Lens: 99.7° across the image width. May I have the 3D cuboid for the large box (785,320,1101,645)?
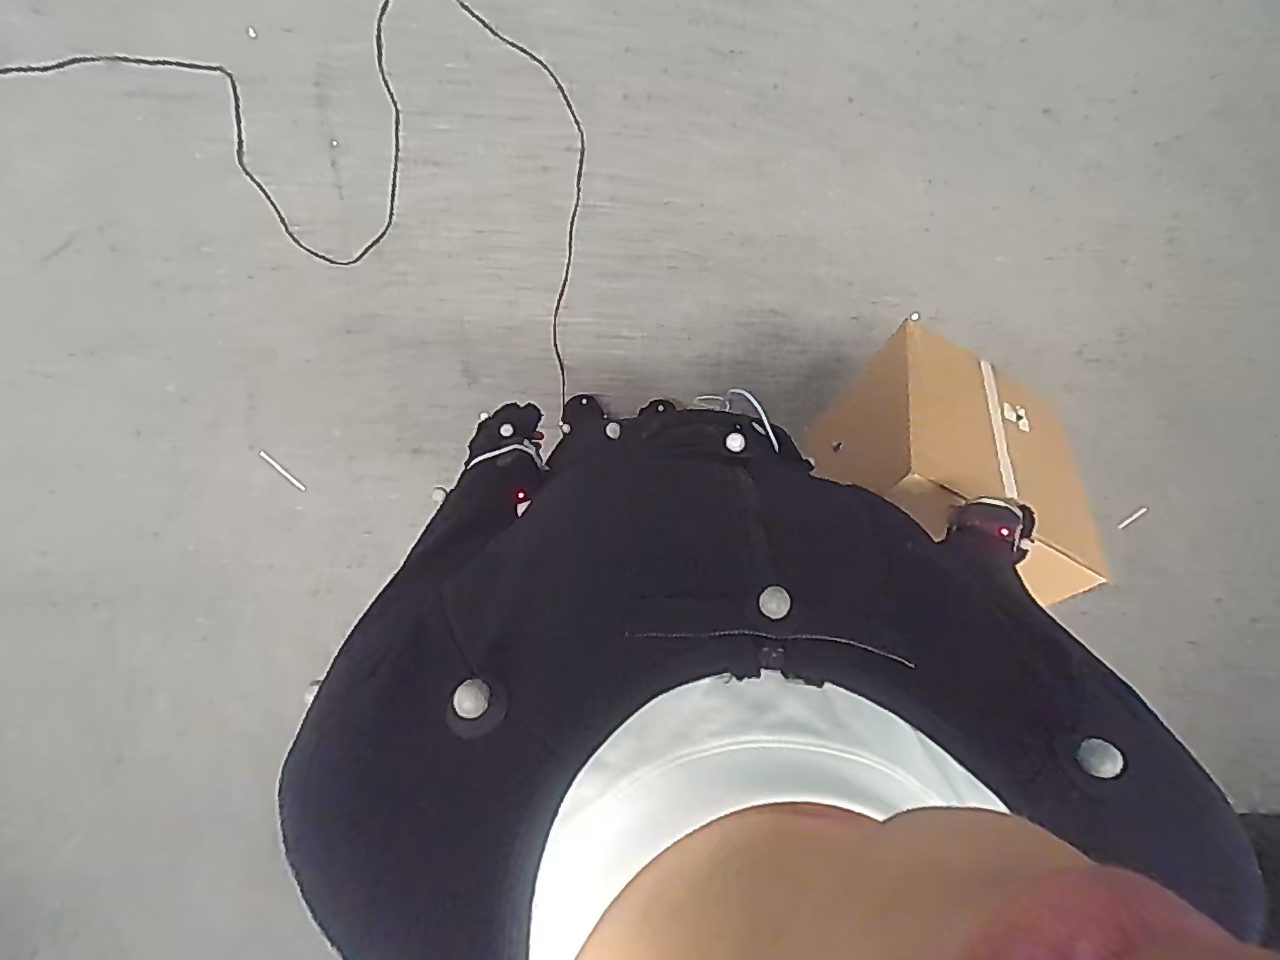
[{"bbox_3d":[0.484,0.006,0.946,0.320,0.408,0.320,28,138,-5],"label":"large box"}]
